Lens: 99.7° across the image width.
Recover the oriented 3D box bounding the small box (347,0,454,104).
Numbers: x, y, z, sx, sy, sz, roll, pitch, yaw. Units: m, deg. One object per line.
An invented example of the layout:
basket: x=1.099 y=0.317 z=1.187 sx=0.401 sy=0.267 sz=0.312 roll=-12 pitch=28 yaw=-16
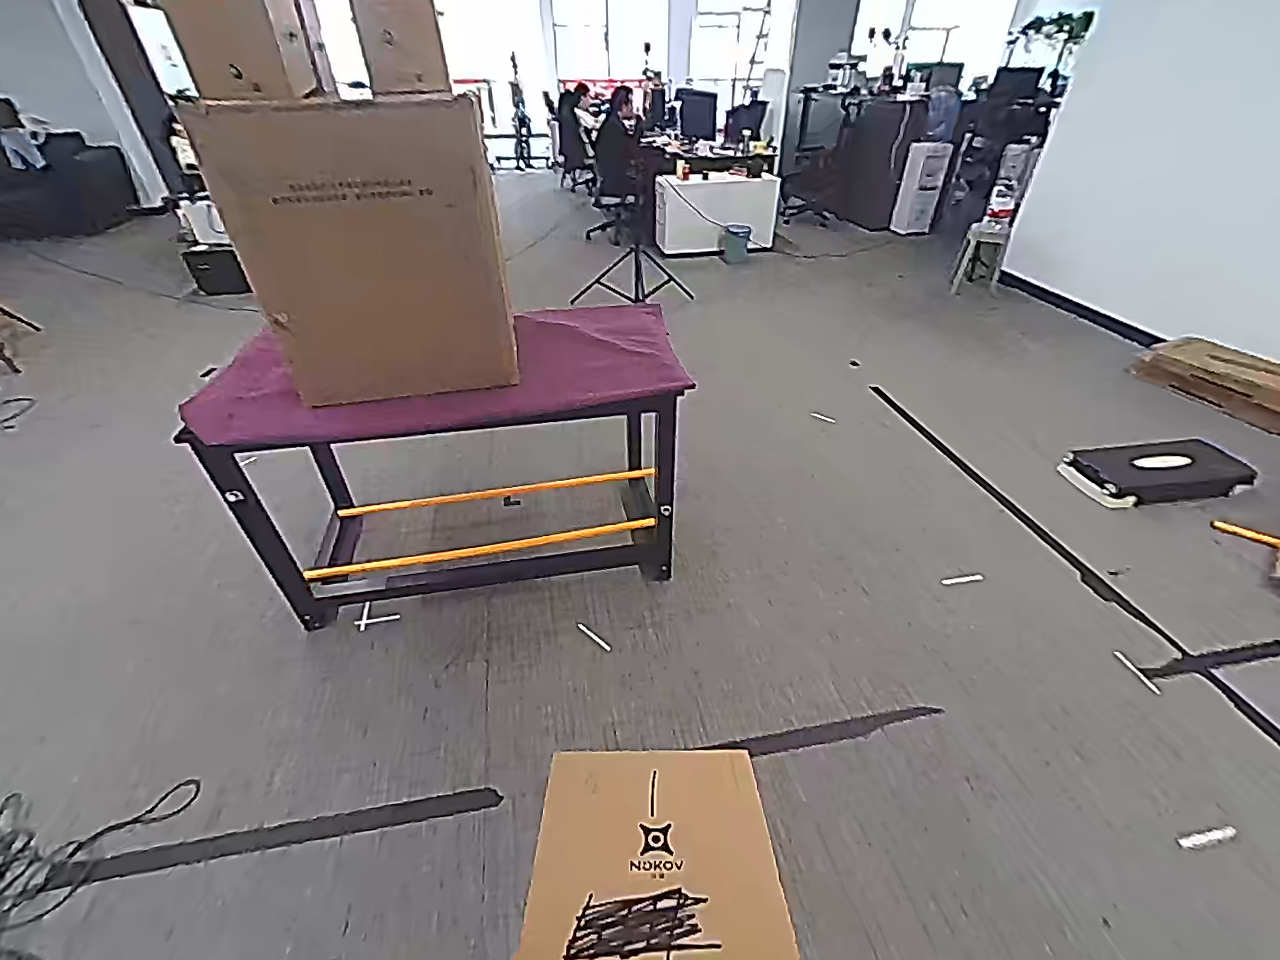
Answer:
small box: x=-0.509 y=-0.926 z=1.174 sx=0.168 sy=0.176 sz=0.179 roll=-10 pitch=38 yaw=-10

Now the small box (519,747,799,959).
small box: x=0.013 y=0.331 z=0.399 sx=0.168 sy=0.176 sz=0.179 roll=-1 pitch=18 yaw=-1
